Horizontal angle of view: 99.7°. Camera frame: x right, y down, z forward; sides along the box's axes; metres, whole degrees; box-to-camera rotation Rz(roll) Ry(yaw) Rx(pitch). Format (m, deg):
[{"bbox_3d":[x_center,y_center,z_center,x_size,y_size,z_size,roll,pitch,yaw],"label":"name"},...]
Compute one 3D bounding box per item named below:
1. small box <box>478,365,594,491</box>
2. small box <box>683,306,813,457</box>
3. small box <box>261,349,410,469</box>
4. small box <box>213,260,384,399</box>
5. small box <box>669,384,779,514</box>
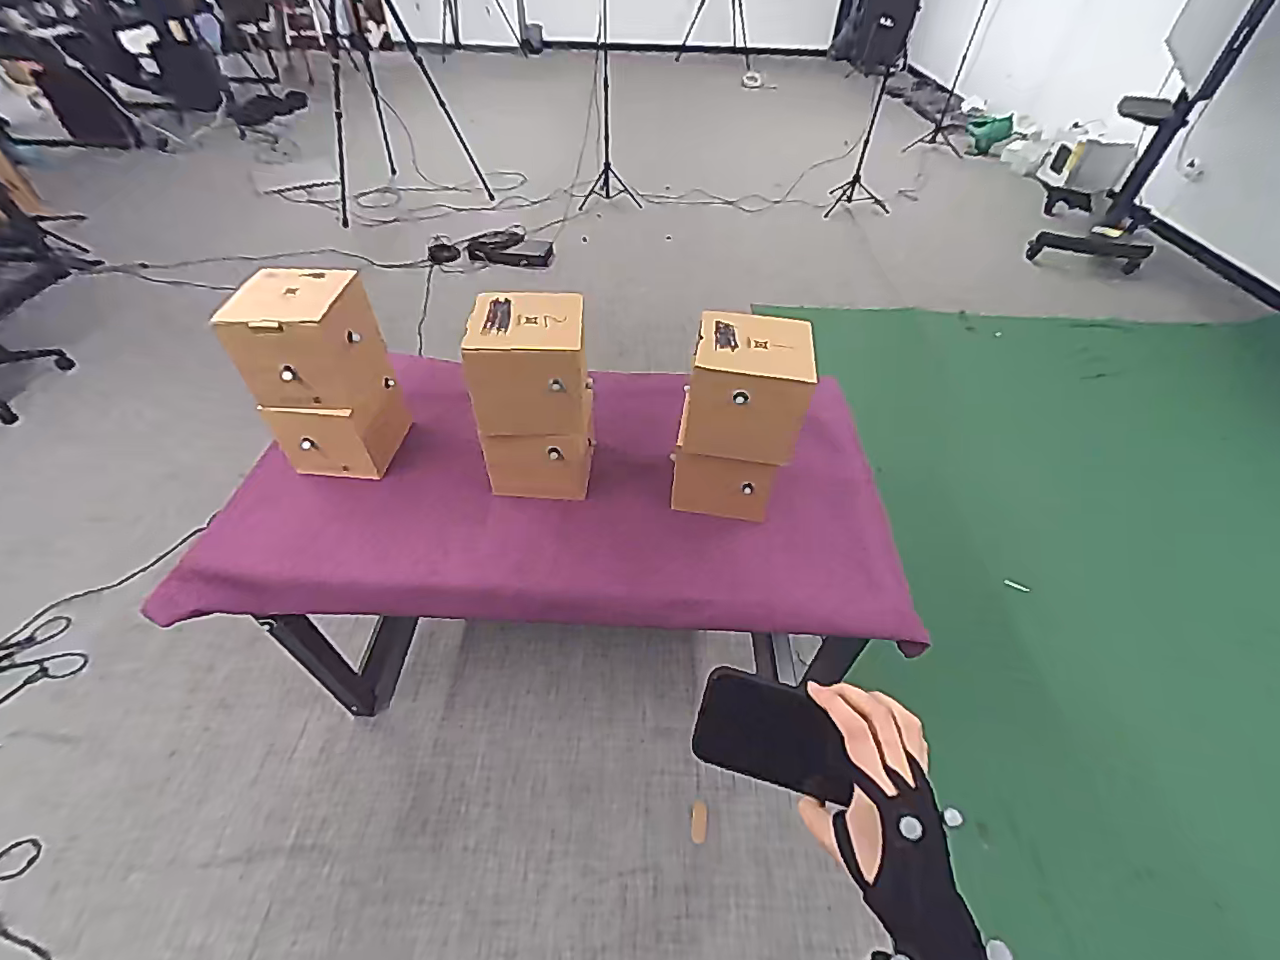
[{"bbox_3d":[-0.183,-0.094,1.019,0.179,0.176,0.168,4,48,2],"label":"small box"},{"bbox_3d":[0.167,-0.155,0.869,0.179,0.176,0.168,9,48,5],"label":"small box"},{"bbox_3d":[-0.571,-0.139,1.045,0.168,0.176,0.179,5,48,2],"label":"small box"},{"bbox_3d":[-0.565,-0.256,0.930,0.168,0.176,0.179,1,48,-2],"label":"small box"},{"bbox_3d":[0.155,-0.057,1.000,0.179,0.176,0.168,9,47,7],"label":"small box"}]
